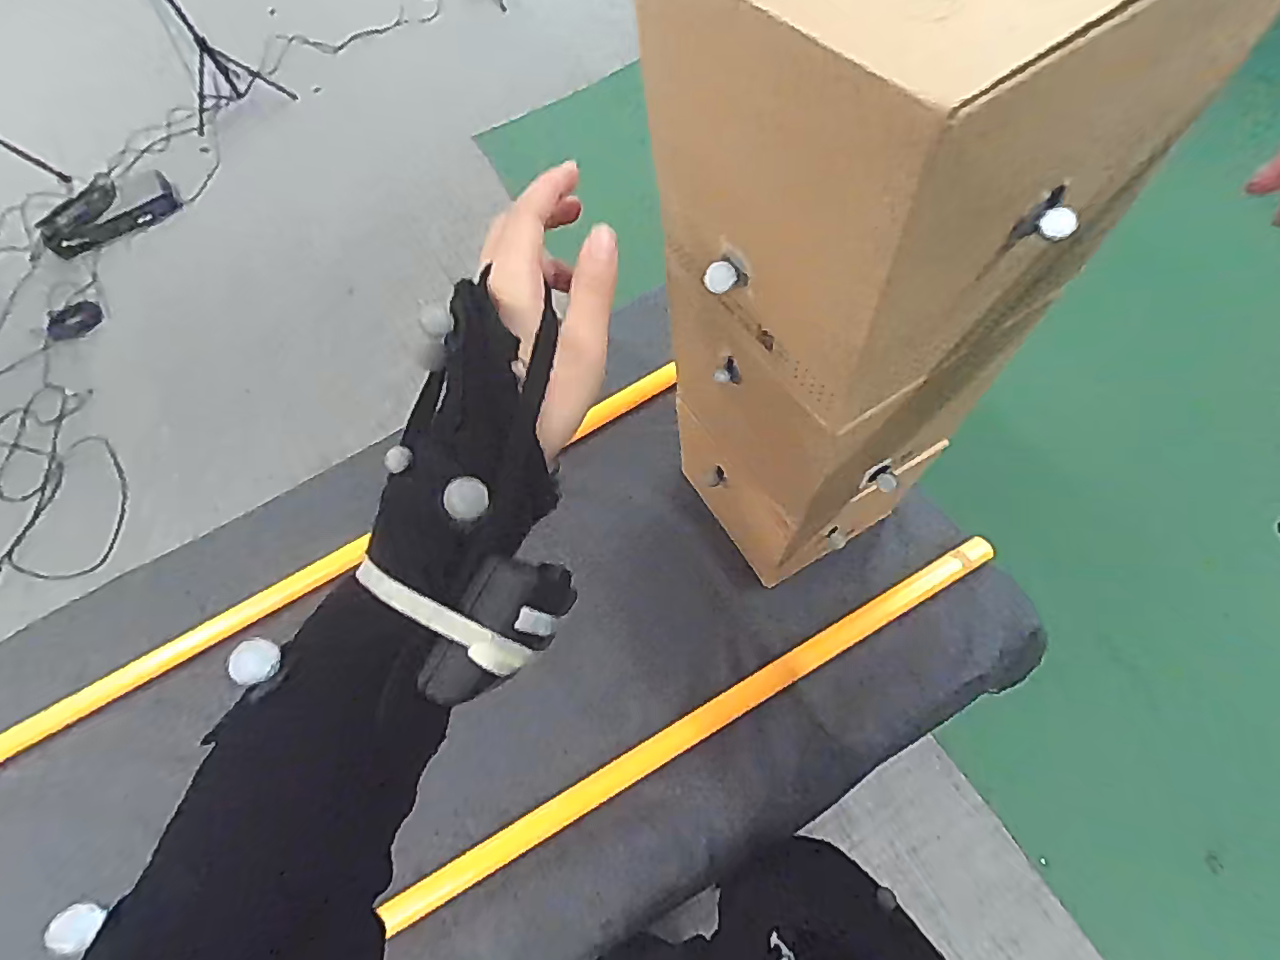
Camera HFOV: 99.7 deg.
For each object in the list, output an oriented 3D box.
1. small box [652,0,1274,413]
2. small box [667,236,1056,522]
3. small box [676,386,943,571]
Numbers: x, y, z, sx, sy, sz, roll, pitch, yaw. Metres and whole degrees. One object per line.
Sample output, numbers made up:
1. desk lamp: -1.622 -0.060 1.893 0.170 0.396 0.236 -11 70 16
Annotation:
1. small box: 0.119 -0.168 0.259 0.179 0.176 0.168 -32 64 -6
2. small box: 0.137 -0.098 0.406 0.168 0.176 0.179 -31 64 -7
3. small box: 0.155 -0.024 0.551 0.168 0.176 0.179 -30 64 -7
